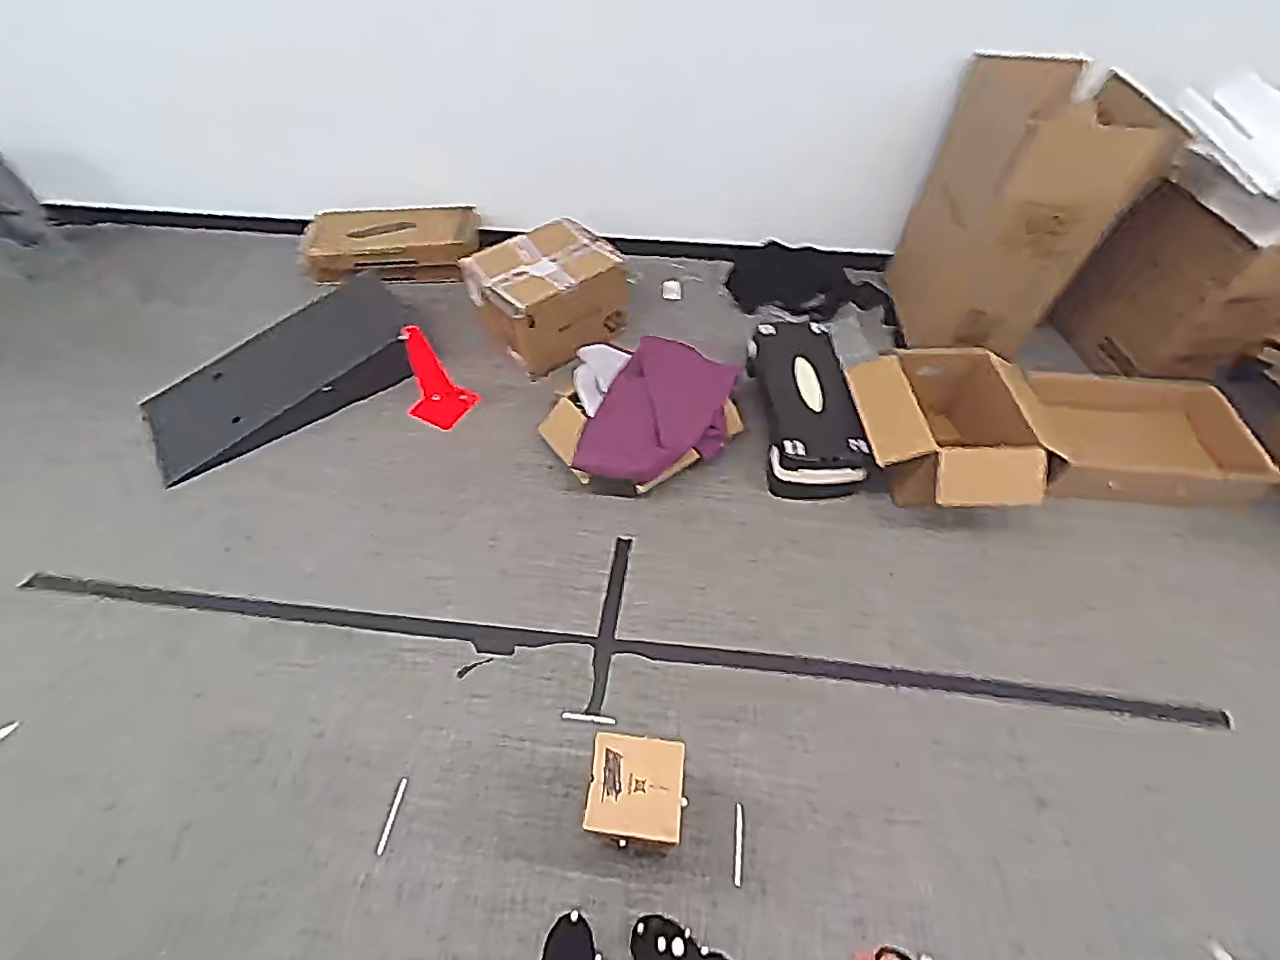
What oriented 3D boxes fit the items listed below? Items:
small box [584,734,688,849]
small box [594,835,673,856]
[{"bbox_3d":[-0.003,0.619,1.067,0.179,0.176,0.168,6,54,4],"label":"small box"},{"bbox_3d":[0.002,0.718,1.201,0.168,0.176,0.179,7,55,6],"label":"small box"}]
